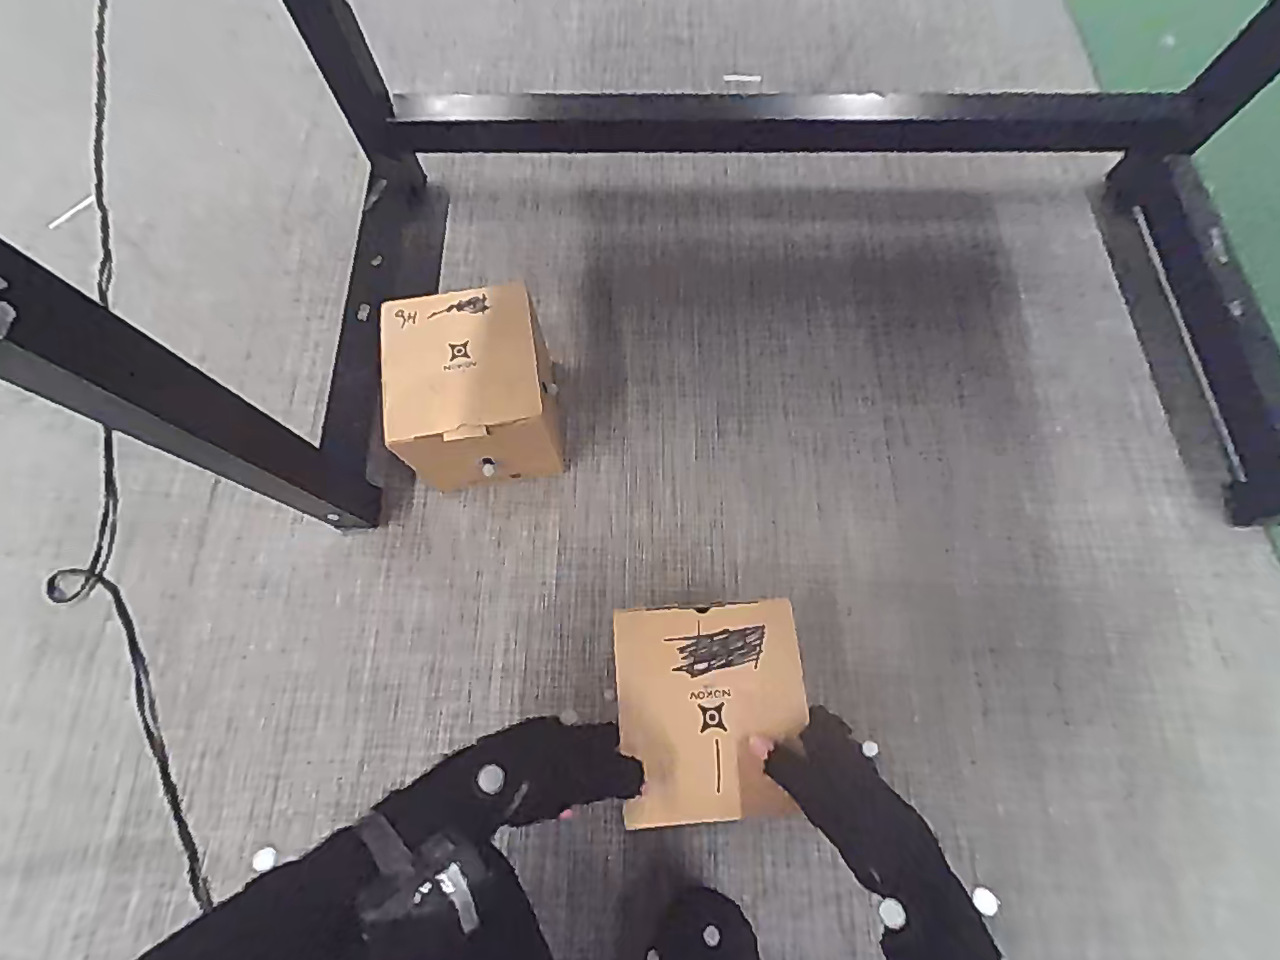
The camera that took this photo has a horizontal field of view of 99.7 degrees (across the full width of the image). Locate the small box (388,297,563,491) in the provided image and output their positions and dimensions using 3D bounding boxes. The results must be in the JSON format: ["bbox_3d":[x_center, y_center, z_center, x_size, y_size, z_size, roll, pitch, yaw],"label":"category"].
[{"bbox_3d":[-0.191,-0.093,0.662,0.168,0.176,0.179,-8,72,-5],"label":"small box"}]
